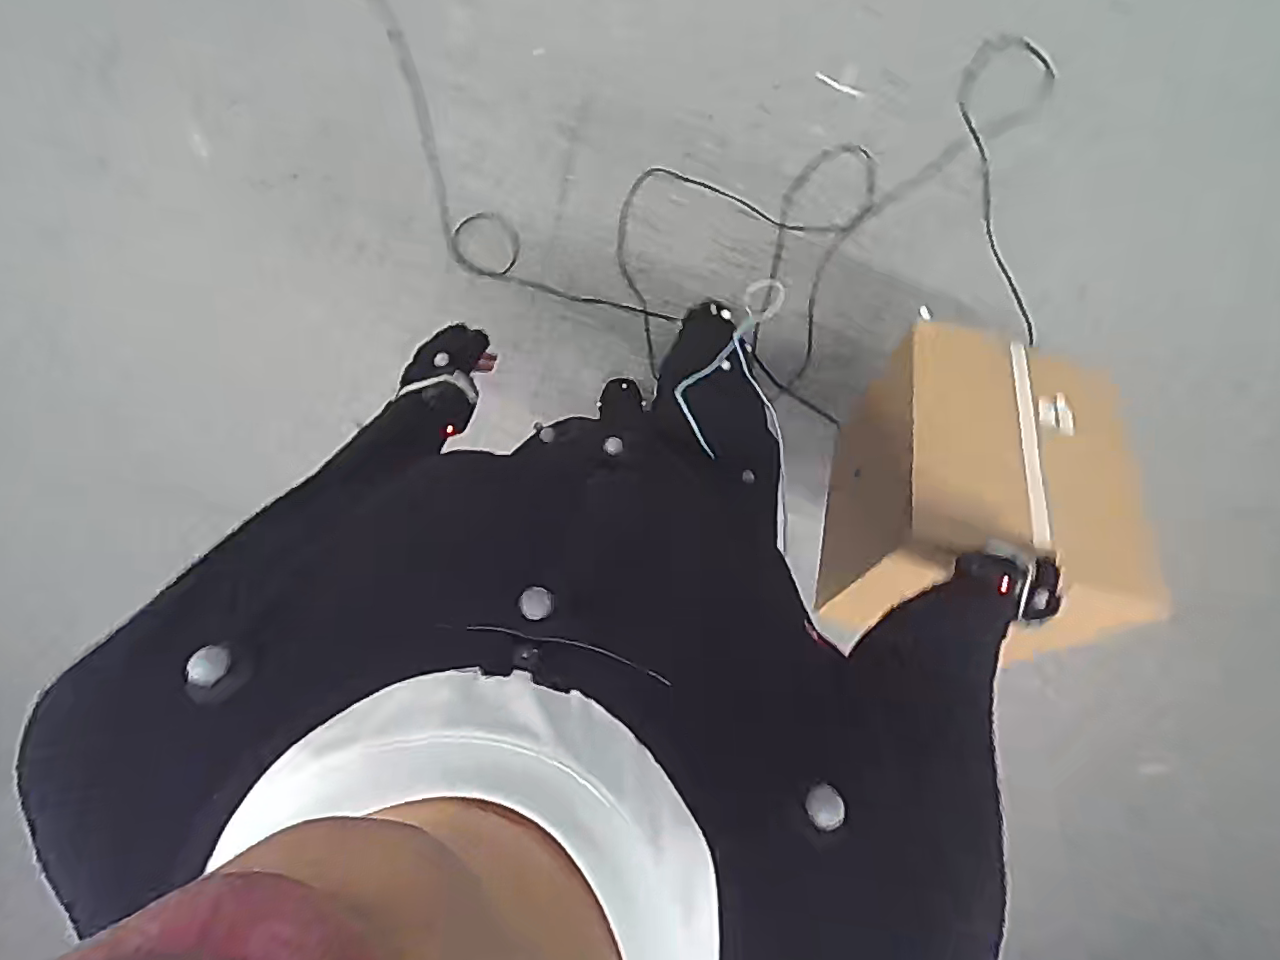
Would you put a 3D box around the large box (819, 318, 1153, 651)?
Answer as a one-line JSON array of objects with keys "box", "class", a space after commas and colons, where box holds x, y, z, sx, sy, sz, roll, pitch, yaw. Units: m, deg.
[{"box": [0.508, 0.014, 0.889, 0.320, 0.320, 0.408, 16, 58, 2], "class": "large box"}]
